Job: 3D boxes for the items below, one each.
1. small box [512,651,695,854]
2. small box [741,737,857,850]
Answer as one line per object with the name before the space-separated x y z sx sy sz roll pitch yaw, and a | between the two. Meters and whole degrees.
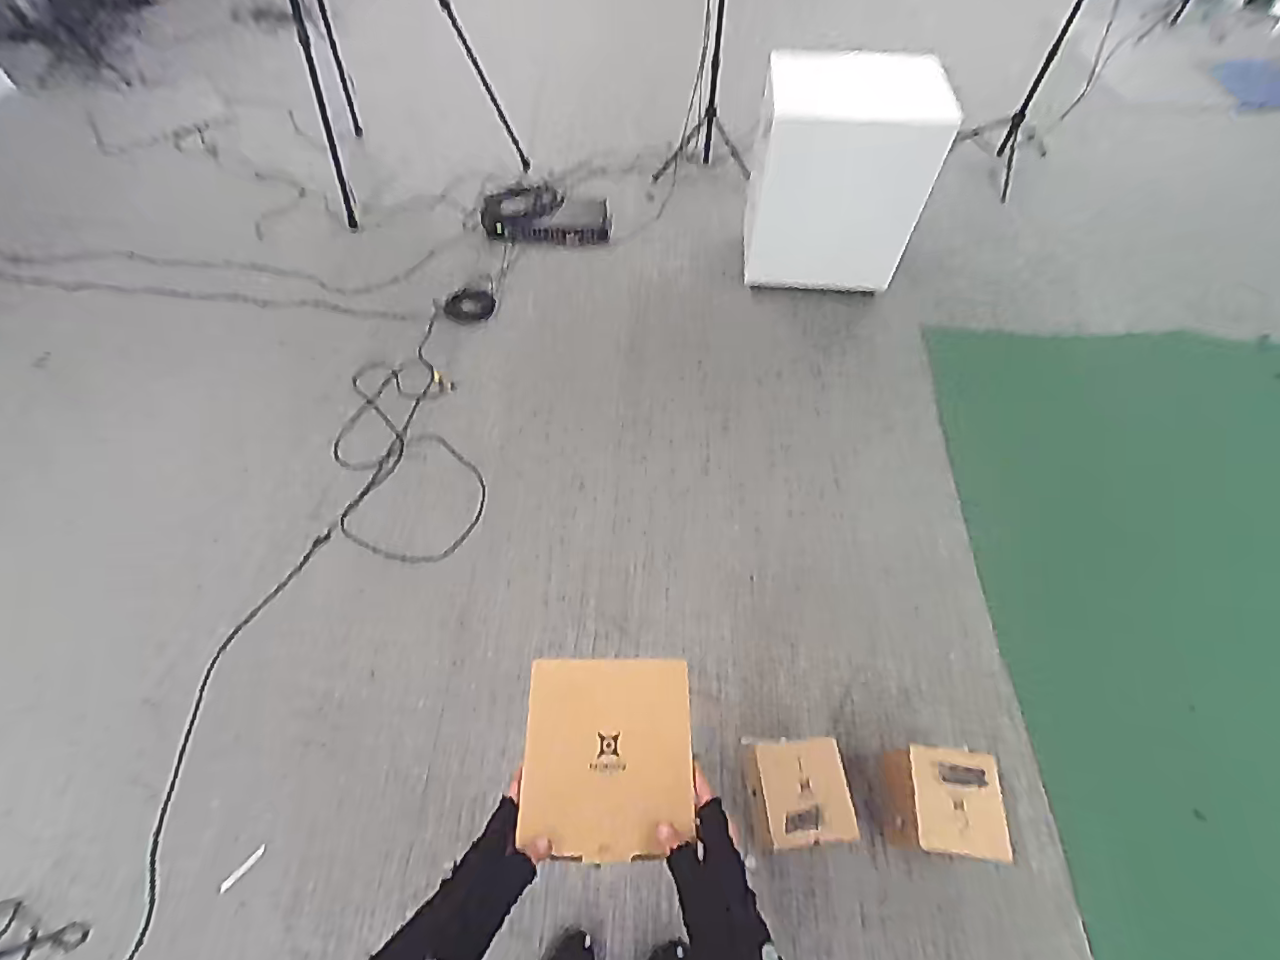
small box | -0.035 0.296 0.587 0.168 0.176 0.179 0 59 -2
small box | 0.308 0.627 1.087 0.168 0.176 0.179 -4 57 -3
